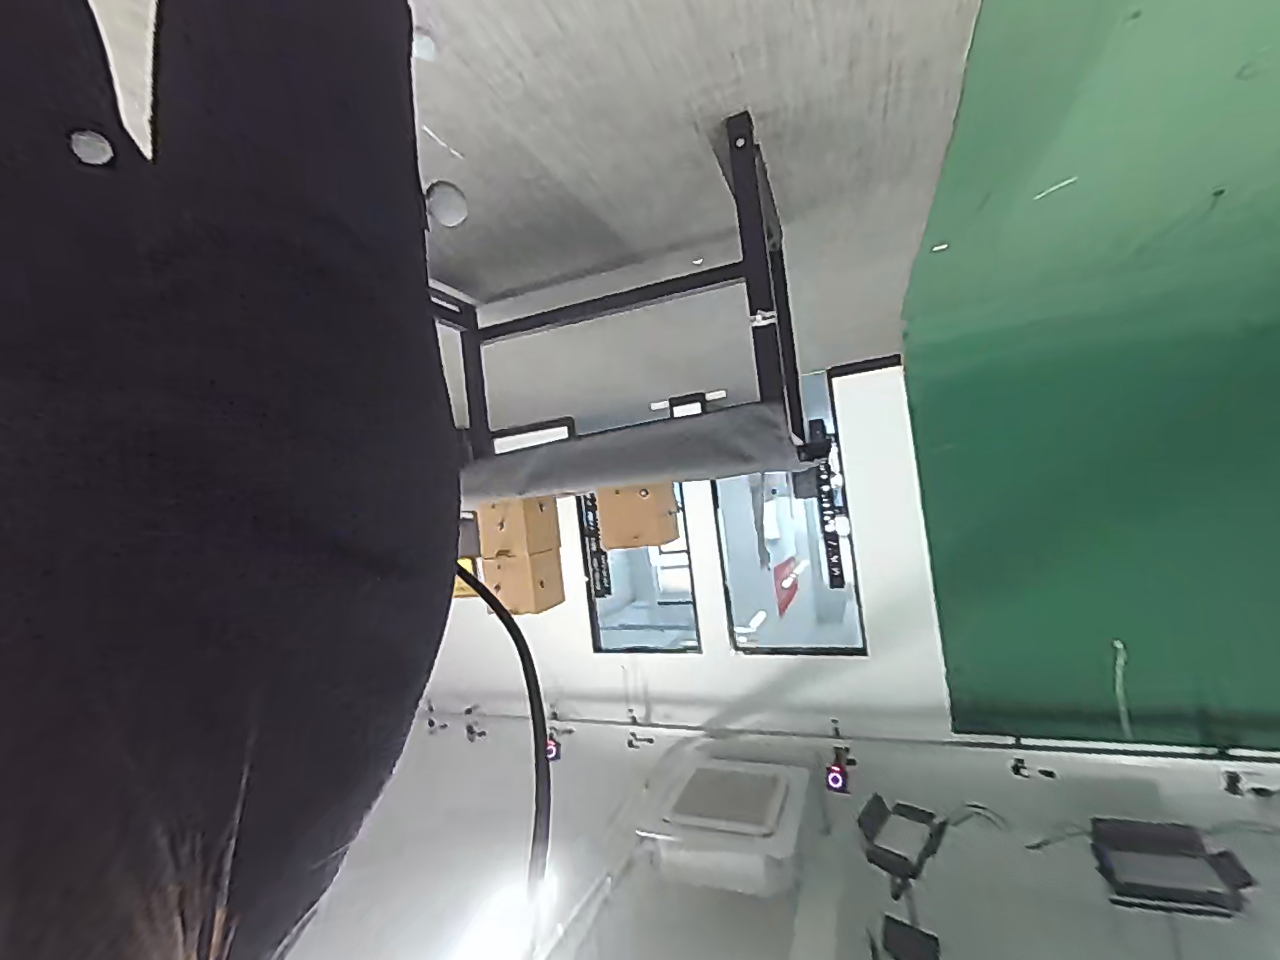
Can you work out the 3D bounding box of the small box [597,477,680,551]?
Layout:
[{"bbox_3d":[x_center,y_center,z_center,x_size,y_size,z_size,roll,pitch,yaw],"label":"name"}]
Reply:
[{"bbox_3d":[-0.002,0.086,1.432,0.168,0.176,0.179,-7,179,18],"label":"small box"}]

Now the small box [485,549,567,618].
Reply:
[{"bbox_3d":[-0.335,0.297,1.585,0.168,0.176,0.179,-7,179,21],"label":"small box"}]

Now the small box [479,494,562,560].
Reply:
[{"bbox_3d":[-0.351,0.135,1.588,0.168,0.176,0.179,-8,178,24],"label":"small box"}]
